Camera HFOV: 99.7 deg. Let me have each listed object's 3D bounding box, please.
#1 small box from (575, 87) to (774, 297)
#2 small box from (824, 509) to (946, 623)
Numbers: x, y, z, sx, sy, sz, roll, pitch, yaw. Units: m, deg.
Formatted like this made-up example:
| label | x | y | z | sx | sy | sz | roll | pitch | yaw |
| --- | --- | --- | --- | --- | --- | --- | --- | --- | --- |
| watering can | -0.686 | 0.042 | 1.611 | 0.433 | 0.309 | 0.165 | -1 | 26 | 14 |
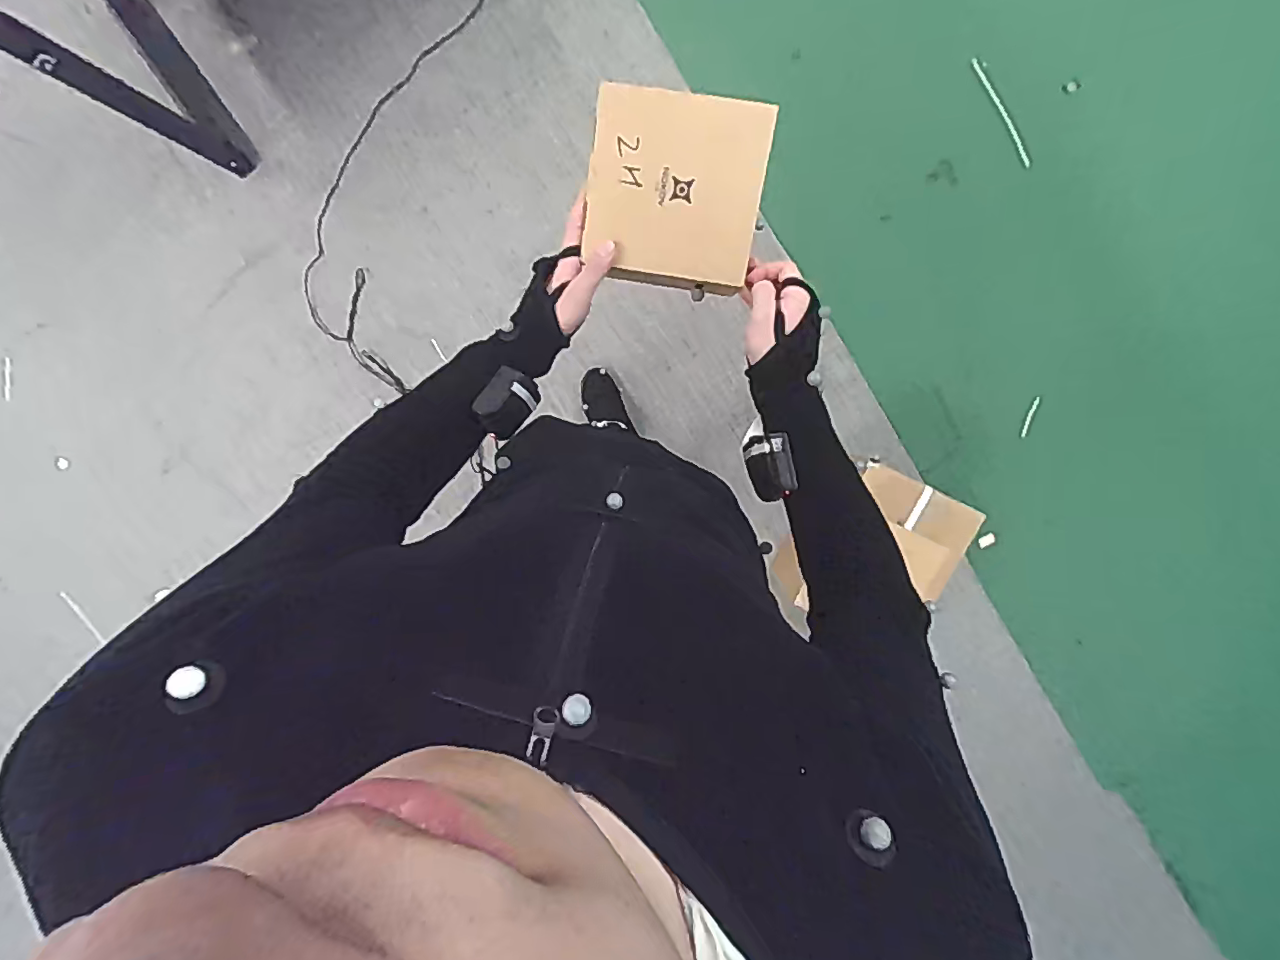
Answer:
| label | x | y | z | sx | sy | sz | roll | pitch | yaw |
| --- | --- | --- | --- | --- | --- | --- | --- | --- | --- |
| small box | 0.037 | -0.304 | 0.608 | 0.179 | 0.176 | 0.168 | 10 | 106 | 3 |
| small box | 0.542 | 0.186 | 1.228 | 0.168 | 0.176 | 0.179 | 26 | 98 | -1 |
